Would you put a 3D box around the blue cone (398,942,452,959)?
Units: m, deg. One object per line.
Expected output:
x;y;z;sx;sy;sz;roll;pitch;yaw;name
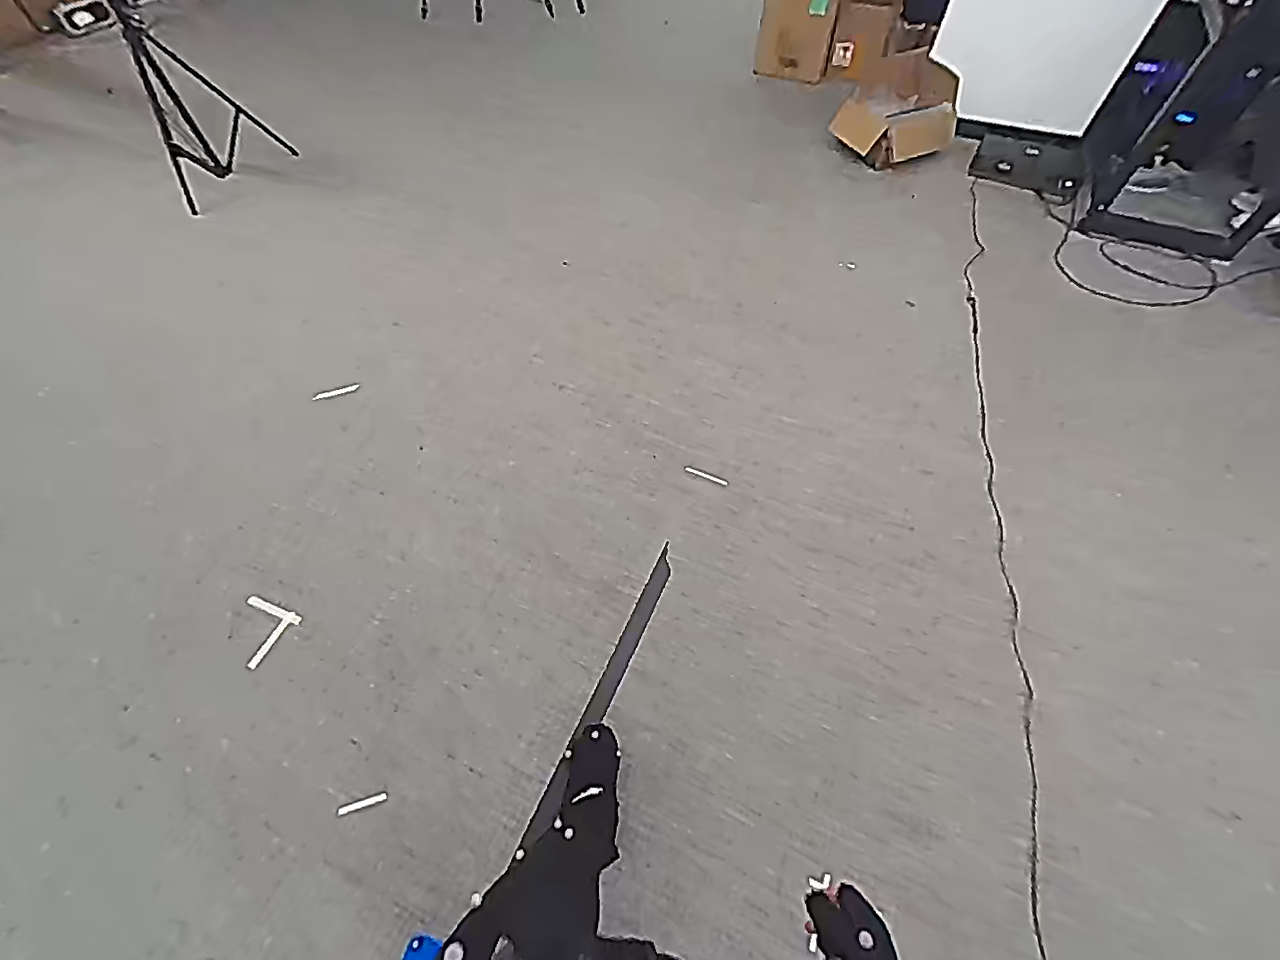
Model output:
-0.418;0.932;0.890;0.192;0.380;0.193;18;58;12;blue cone
